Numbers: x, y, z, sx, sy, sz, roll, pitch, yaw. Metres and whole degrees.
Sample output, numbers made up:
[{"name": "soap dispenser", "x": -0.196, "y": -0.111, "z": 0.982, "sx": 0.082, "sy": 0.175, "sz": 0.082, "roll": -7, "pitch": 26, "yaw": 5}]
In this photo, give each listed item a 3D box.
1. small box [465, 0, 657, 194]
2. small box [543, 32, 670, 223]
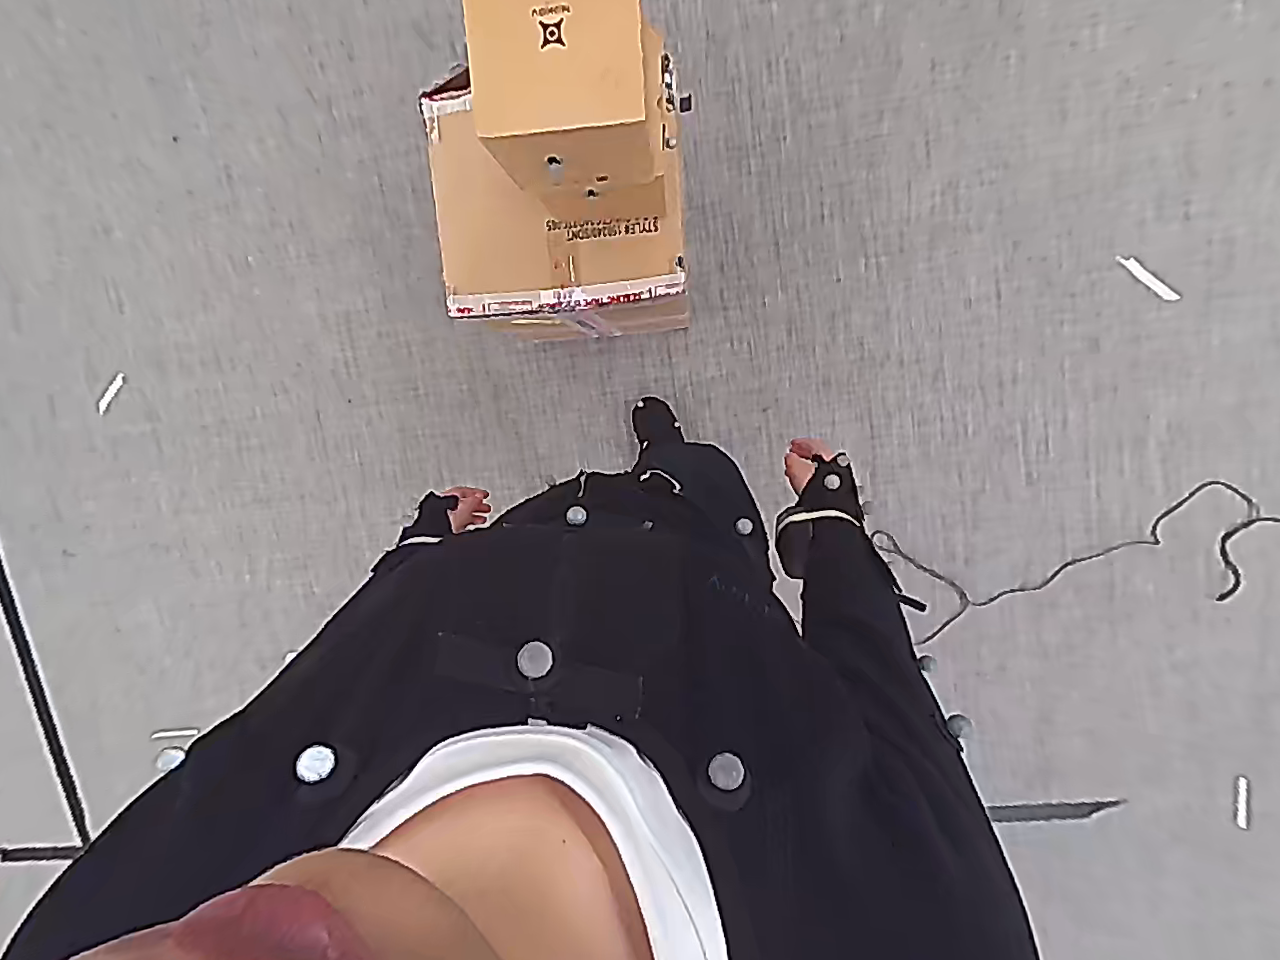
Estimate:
[{"name": "small box", "x": -0.071, "y": -0.424, "z": 0.577, "sx": 0.168, "sy": 0.176, "sz": 0.179, "roll": -3, "pitch": 99, "yaw": 5}, {"name": "small box", "x": -0.049, "y": -0.460, "z": 0.734, "sx": 0.179, "sy": 0.176, "sz": 0.168, "roll": -1, "pitch": 101, "yaw": 4}]
